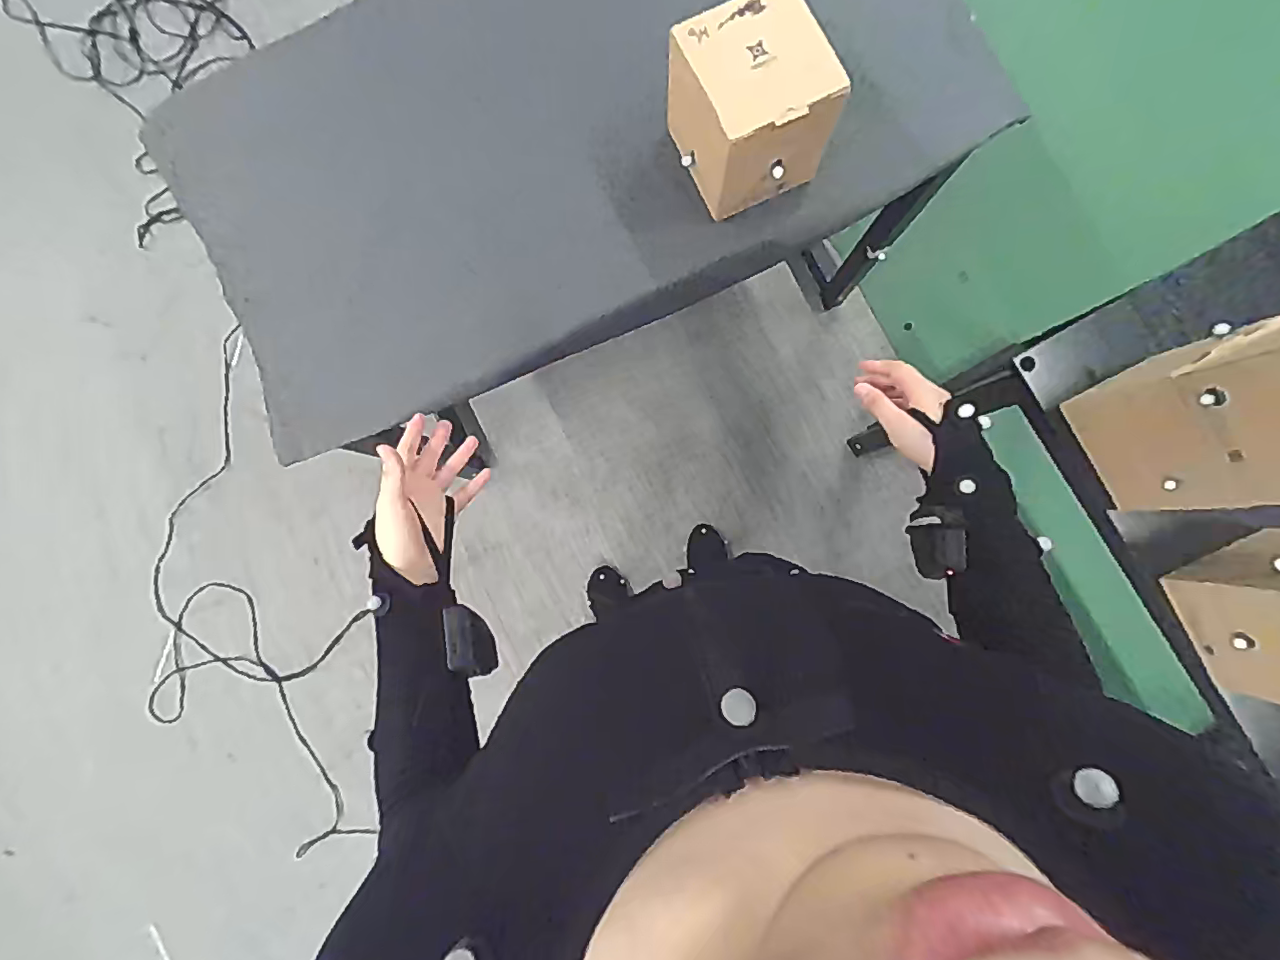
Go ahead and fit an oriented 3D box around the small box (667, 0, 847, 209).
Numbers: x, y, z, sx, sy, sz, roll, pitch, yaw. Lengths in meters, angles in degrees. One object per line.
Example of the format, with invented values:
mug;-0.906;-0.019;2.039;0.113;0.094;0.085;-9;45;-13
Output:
small box;0.146;-0.505;0.737;0.168;0.176;0.179;-25;84;-1

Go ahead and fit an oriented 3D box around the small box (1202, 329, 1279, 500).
small box;0.720;-0.087;0.525;0.179;0.176;0.168;-25;86;-1

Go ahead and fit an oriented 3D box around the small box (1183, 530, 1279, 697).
small box;0.841;0.169;0.667;0.179;0.176;0.168;-25;86;-1
